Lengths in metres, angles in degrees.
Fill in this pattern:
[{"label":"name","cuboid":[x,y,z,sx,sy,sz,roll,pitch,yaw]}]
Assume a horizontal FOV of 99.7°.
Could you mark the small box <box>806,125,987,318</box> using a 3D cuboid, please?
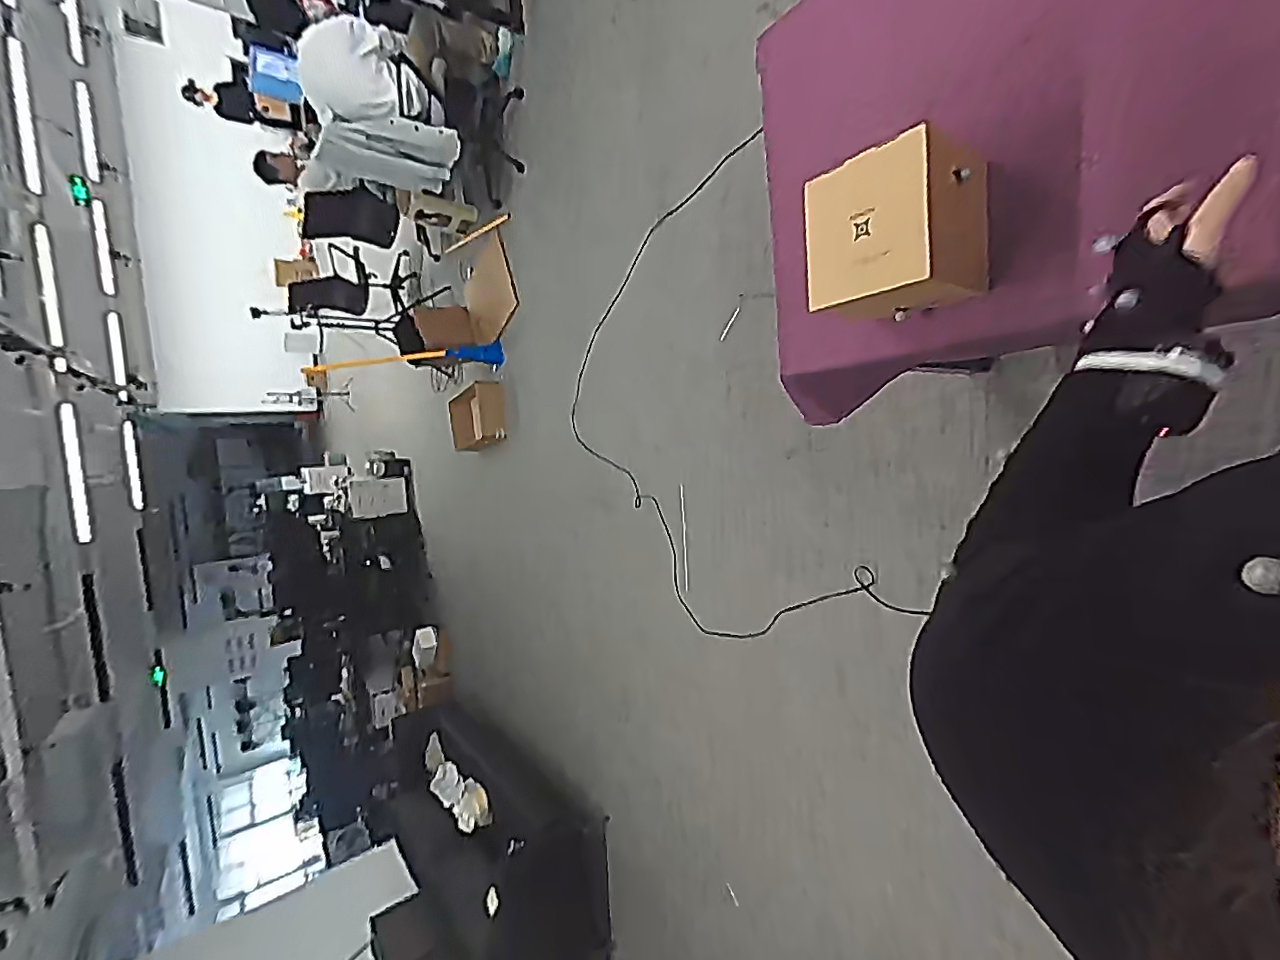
[{"label":"small box","cuboid":[0.347,-0.330,0.734,0.168,0.176,0.179,2,97,54]}]
